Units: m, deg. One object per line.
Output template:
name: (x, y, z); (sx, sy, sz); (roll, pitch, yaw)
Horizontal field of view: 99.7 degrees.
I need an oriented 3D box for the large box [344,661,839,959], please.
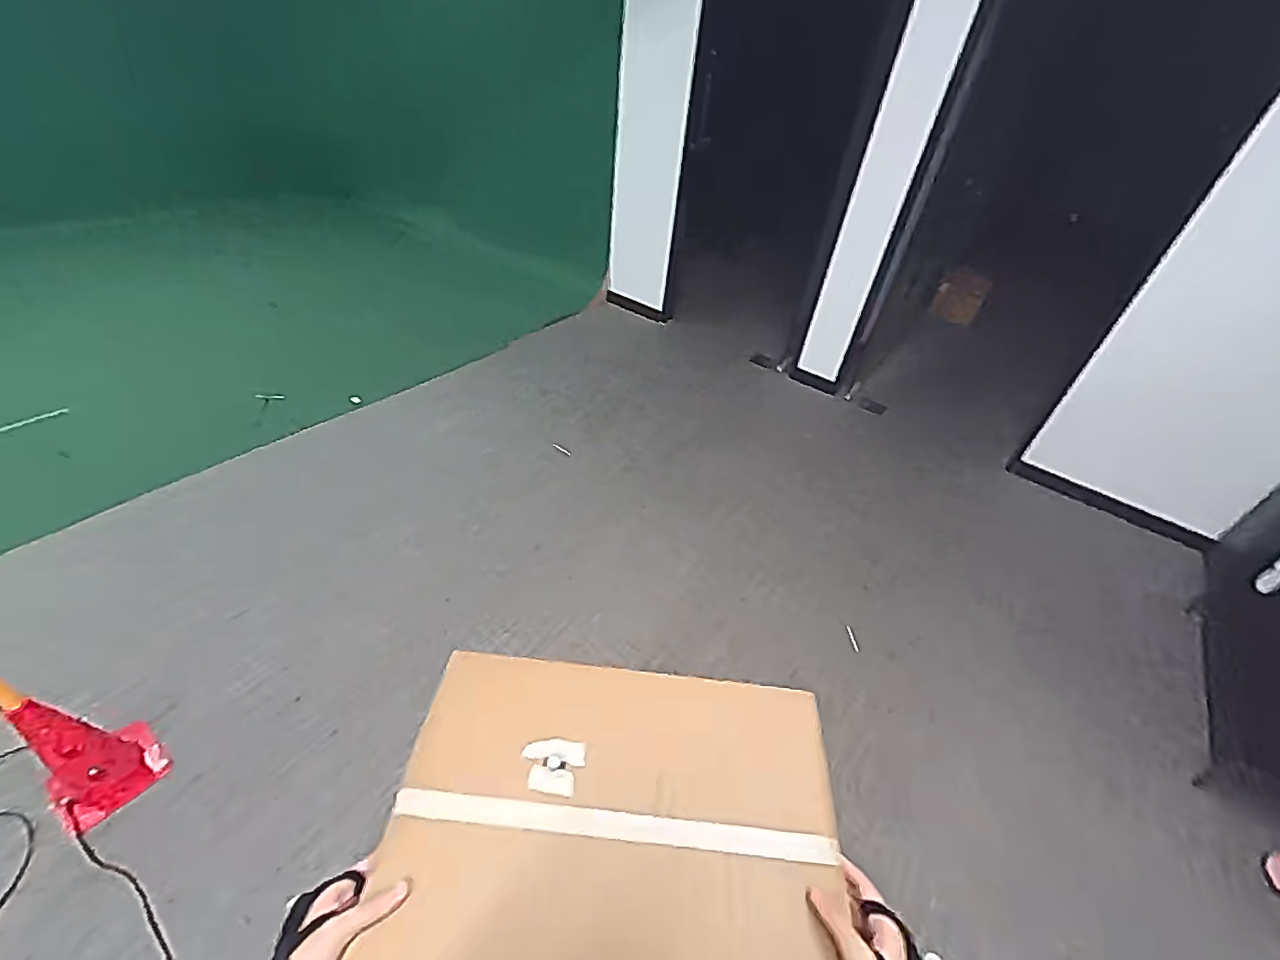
large box: (-0.037, 0.433, 0.603); (0.408, 0.320, 0.320); (5, 41, 1)
